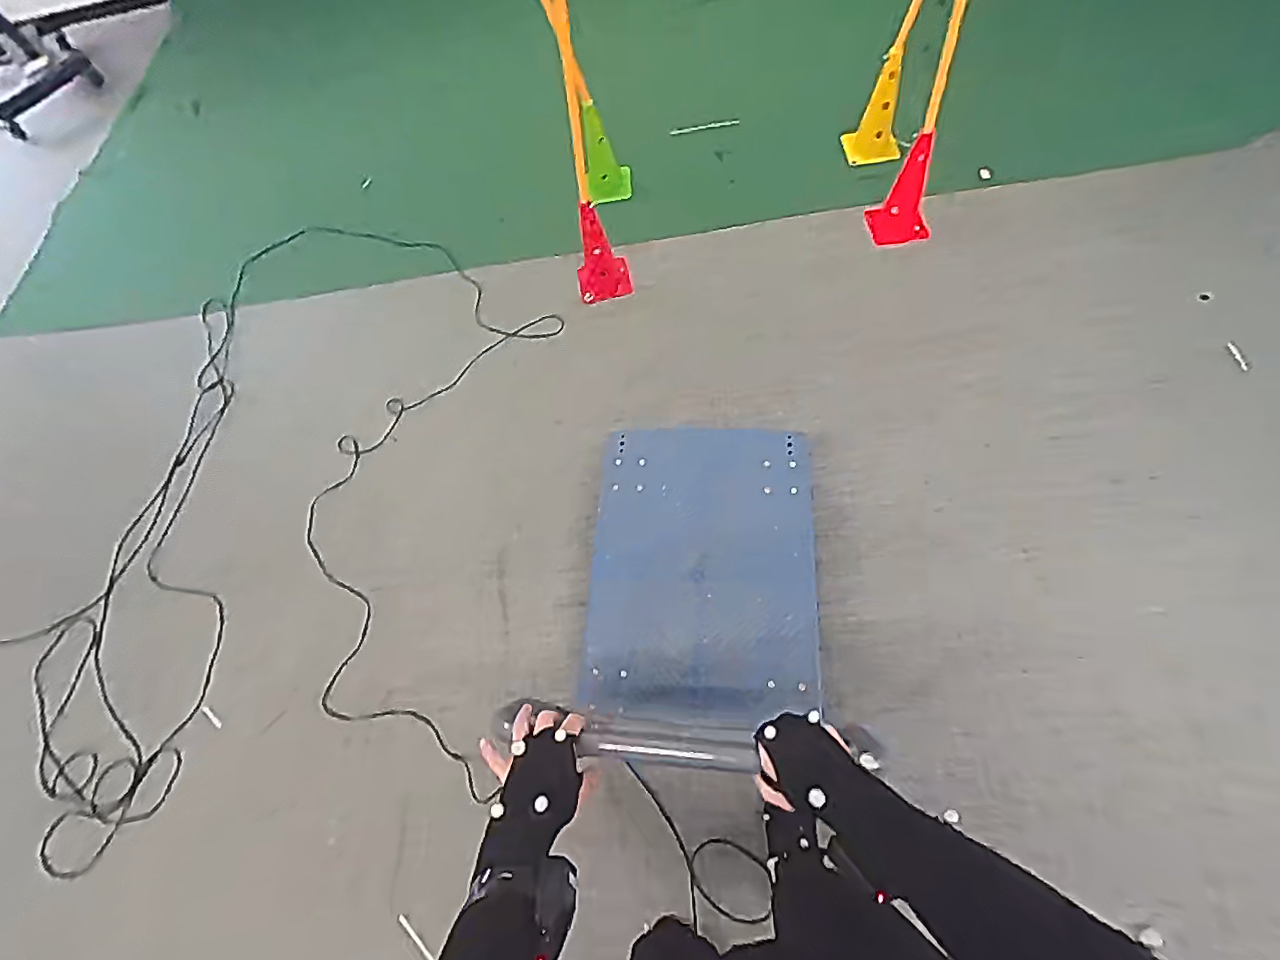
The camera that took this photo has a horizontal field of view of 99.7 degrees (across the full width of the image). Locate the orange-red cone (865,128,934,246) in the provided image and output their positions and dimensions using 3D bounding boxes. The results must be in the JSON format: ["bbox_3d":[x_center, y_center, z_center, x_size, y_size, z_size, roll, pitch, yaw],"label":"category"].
[{"bbox_3d":[0.936,-1.029,1.872,0.198,0.360,0.199,-6,62,5],"label":"orange-red cone"}]

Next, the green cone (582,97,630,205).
[{"bbox_3d":[-0.168,-1.344,2.186,0.200,0.368,0.202,-7,63,6],"label":"green cone"}]
